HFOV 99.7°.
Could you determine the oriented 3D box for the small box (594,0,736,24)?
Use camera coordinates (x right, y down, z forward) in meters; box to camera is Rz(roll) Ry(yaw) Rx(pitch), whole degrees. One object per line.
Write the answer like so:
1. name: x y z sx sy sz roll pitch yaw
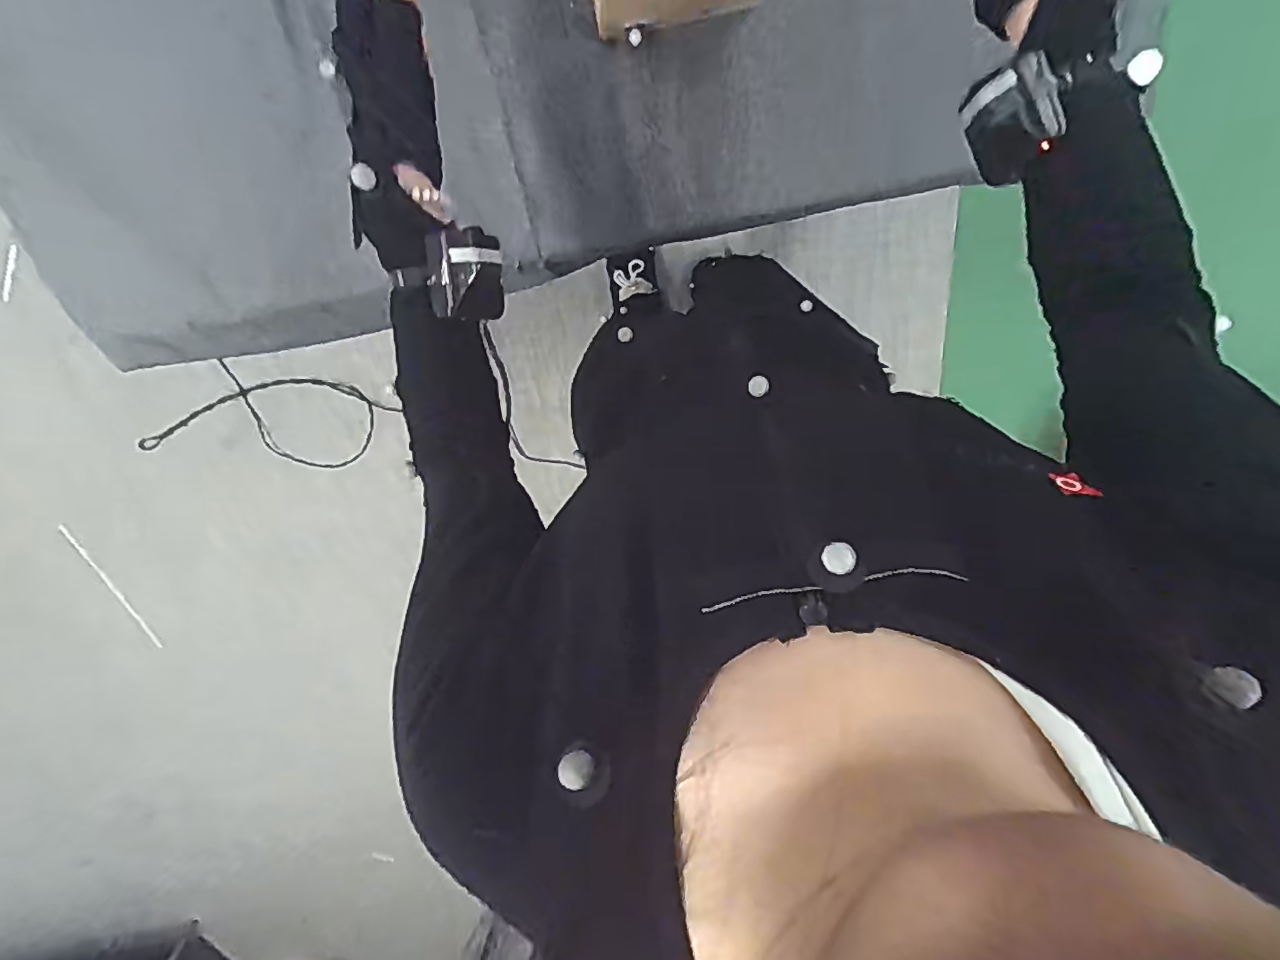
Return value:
1. small box: 0.027 -0.496 0.424 0.168 0.176 0.179 -12 117 2
